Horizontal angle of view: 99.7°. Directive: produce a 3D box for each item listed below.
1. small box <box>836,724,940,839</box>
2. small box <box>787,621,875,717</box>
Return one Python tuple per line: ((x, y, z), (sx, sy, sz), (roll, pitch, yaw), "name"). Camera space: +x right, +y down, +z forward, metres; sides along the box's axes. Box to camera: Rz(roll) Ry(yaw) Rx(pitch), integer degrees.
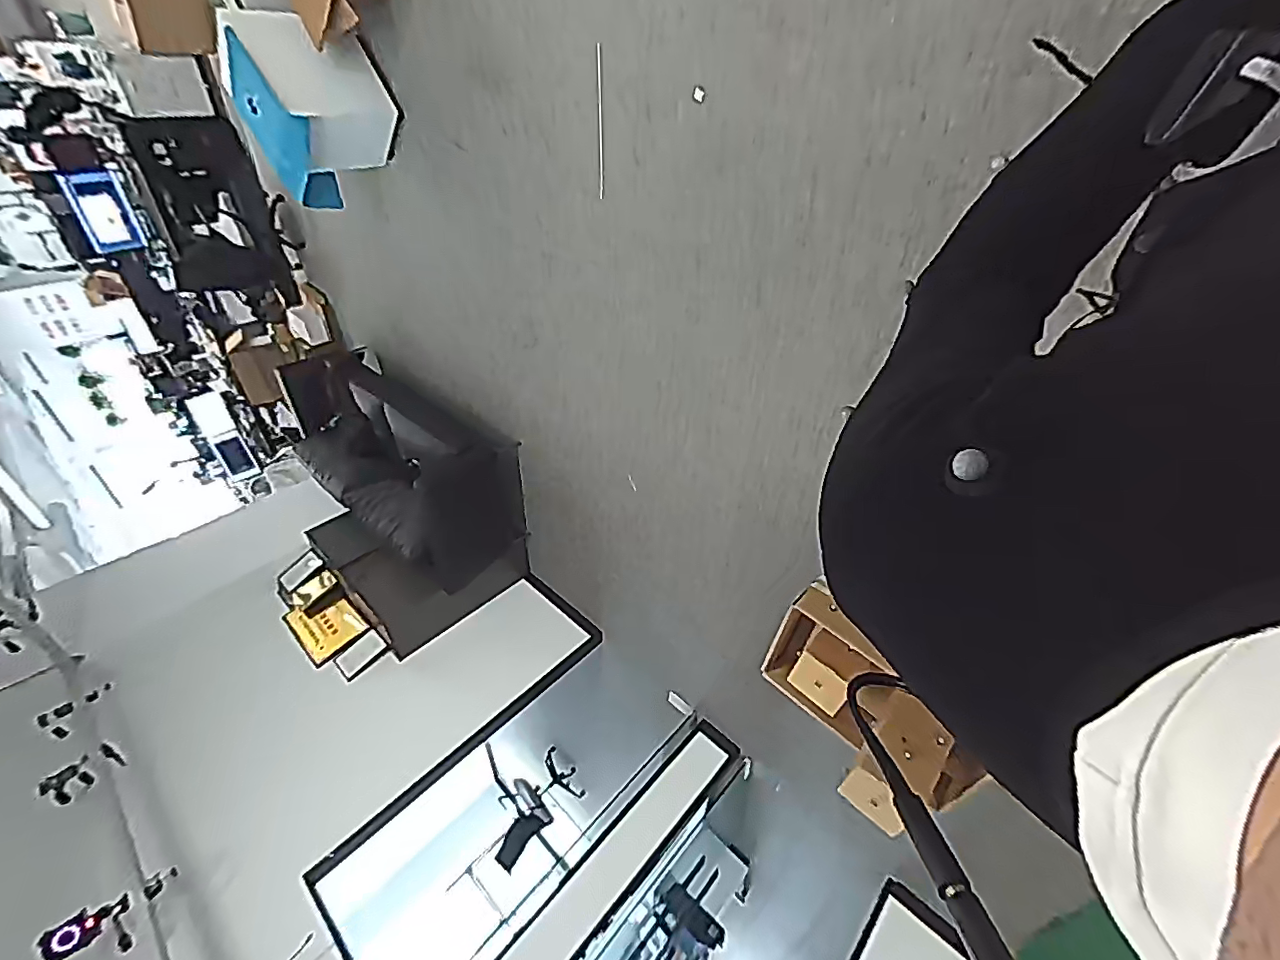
((0.653, 0.787, 1.420), (0.168, 0.176, 0.179), (35, 138, 28), "small box")
((0.577, 0.566, 1.630), (0.168, 0.176, 0.179), (36, 137, 27), "small box")
